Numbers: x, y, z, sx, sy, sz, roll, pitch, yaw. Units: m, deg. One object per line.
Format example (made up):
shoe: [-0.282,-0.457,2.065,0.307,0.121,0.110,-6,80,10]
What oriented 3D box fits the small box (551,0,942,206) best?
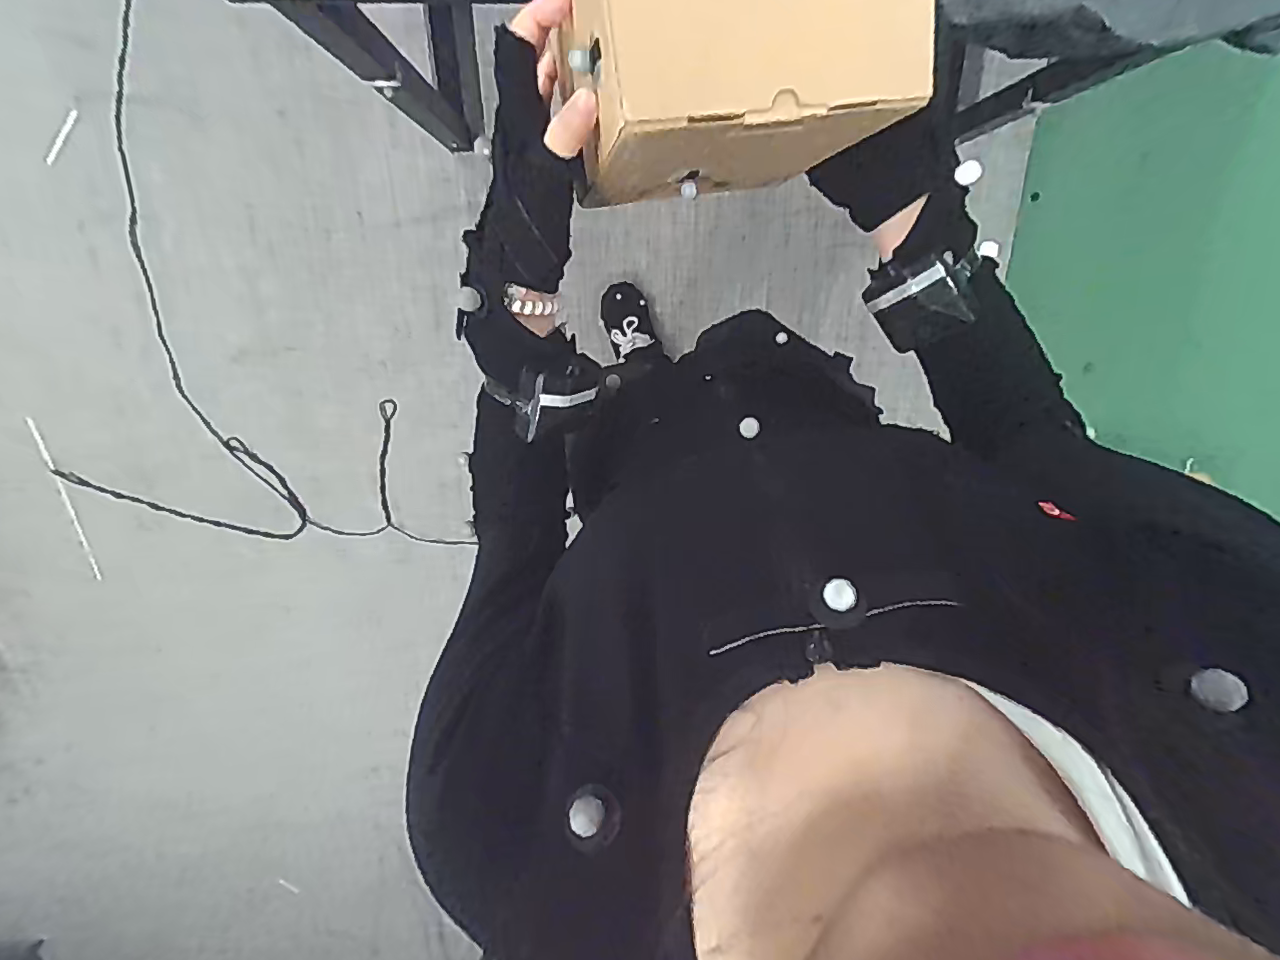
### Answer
small box: [0.044,-0.279,0.314,0.168,0.176,0.179,-13,109,-12]
